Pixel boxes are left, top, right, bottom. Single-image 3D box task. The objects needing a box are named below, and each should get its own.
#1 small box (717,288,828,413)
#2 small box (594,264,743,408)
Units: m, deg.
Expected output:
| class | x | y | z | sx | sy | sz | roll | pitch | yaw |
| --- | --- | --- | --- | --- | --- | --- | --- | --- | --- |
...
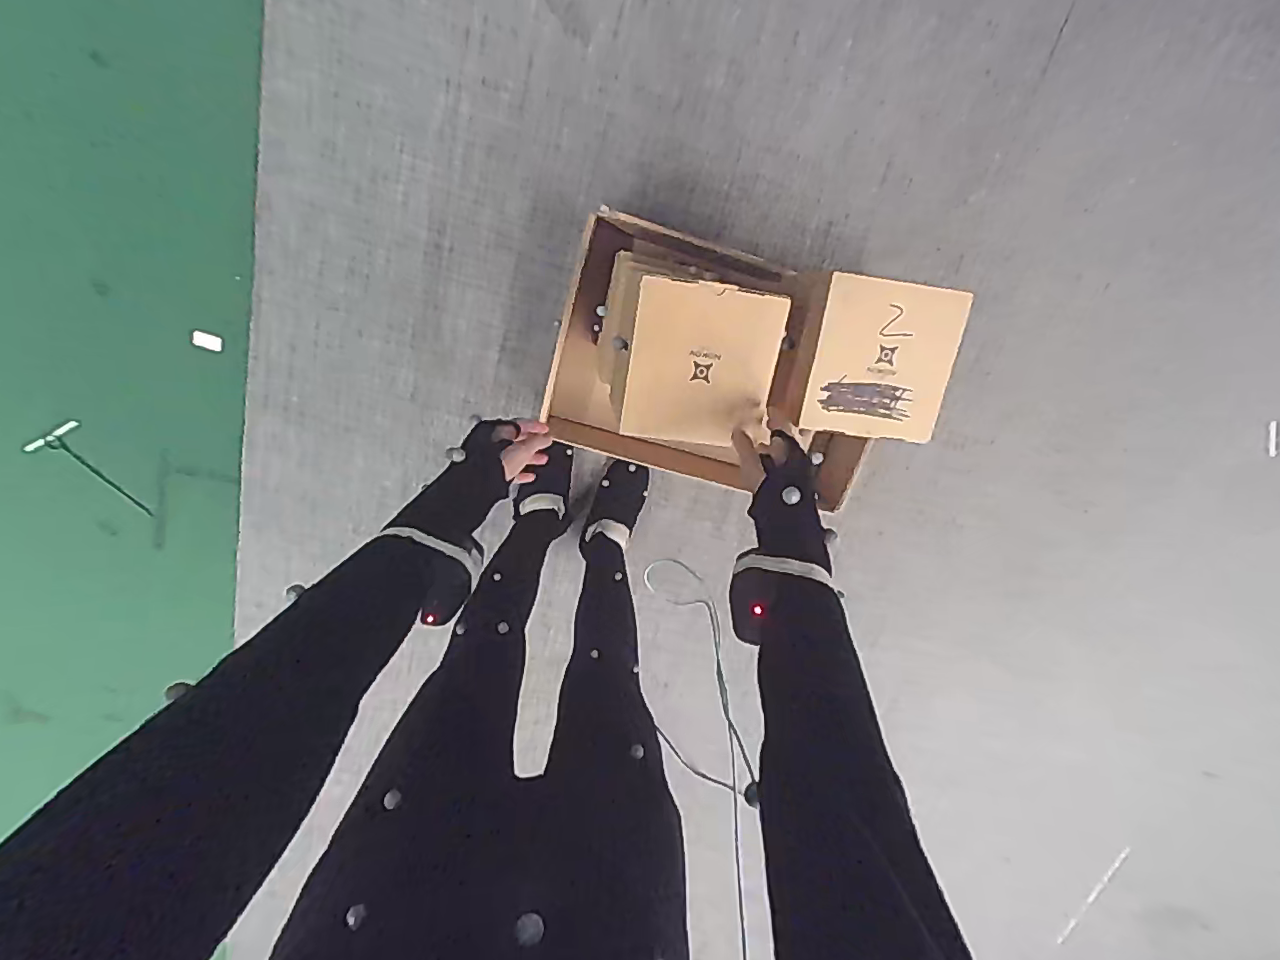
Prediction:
| class | x | y | z | sx | sy | sz | roll | pitch | yaw |
| --- | --- | --- | --- | --- | --- | --- | --- | --- | --- |
| small box | 0.210 | -0.243 | 0.995 | 0.168 | 0.176 | 0.179 | 15 | 109 | -8 |
| small box | 0.031 | -0.222 | 0.812 | 0.179 | 0.176 | 0.168 | 10 | 110 | -9 |
